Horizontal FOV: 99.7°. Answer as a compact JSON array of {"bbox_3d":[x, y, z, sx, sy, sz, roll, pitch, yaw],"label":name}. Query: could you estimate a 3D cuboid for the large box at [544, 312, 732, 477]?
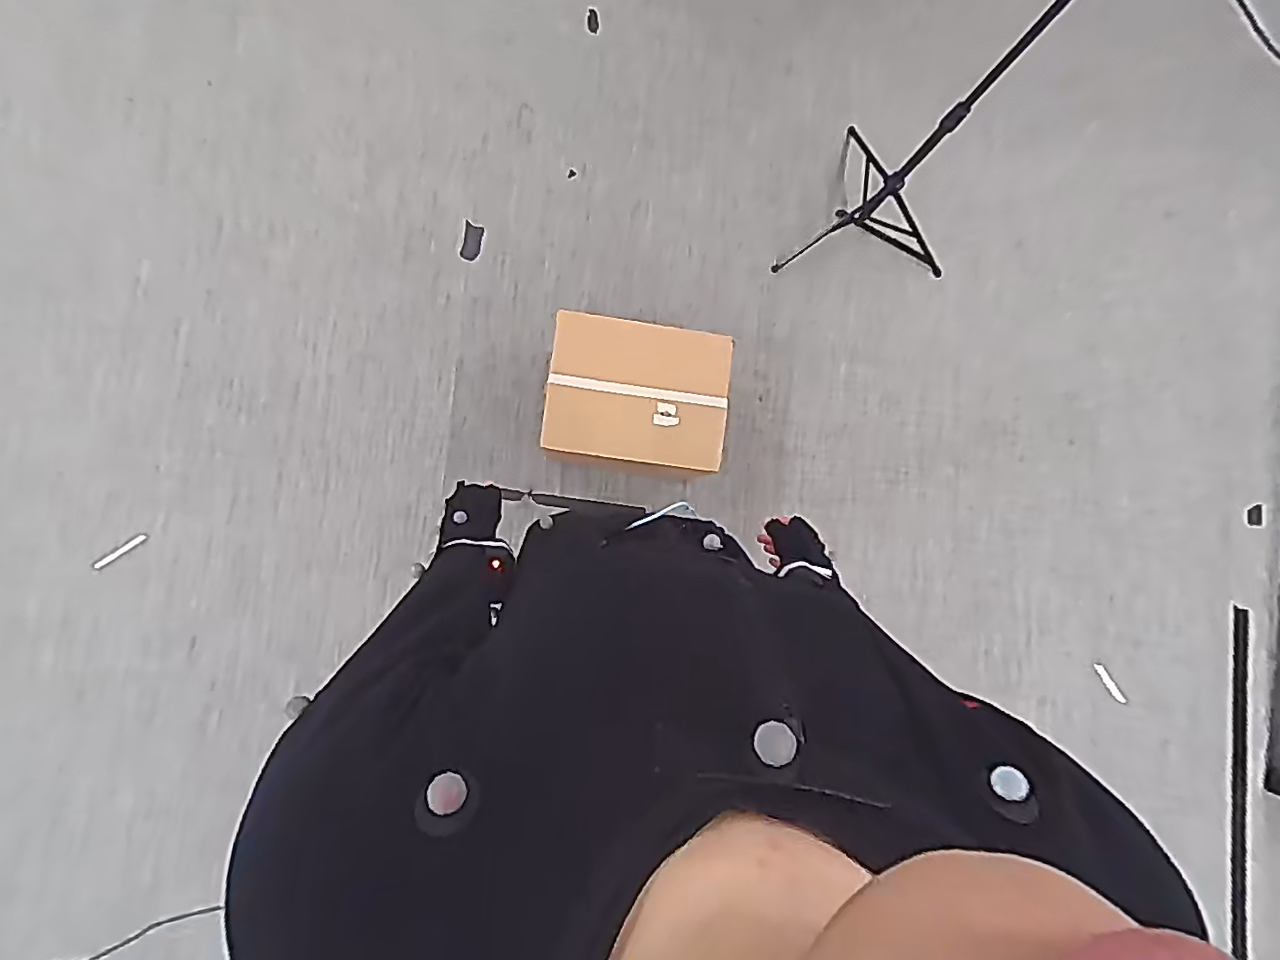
[{"bbox_3d":[-0.017,-0.192,1.363,0.408,0.320,0.320,8,86,-5],"label":"large box"}]
